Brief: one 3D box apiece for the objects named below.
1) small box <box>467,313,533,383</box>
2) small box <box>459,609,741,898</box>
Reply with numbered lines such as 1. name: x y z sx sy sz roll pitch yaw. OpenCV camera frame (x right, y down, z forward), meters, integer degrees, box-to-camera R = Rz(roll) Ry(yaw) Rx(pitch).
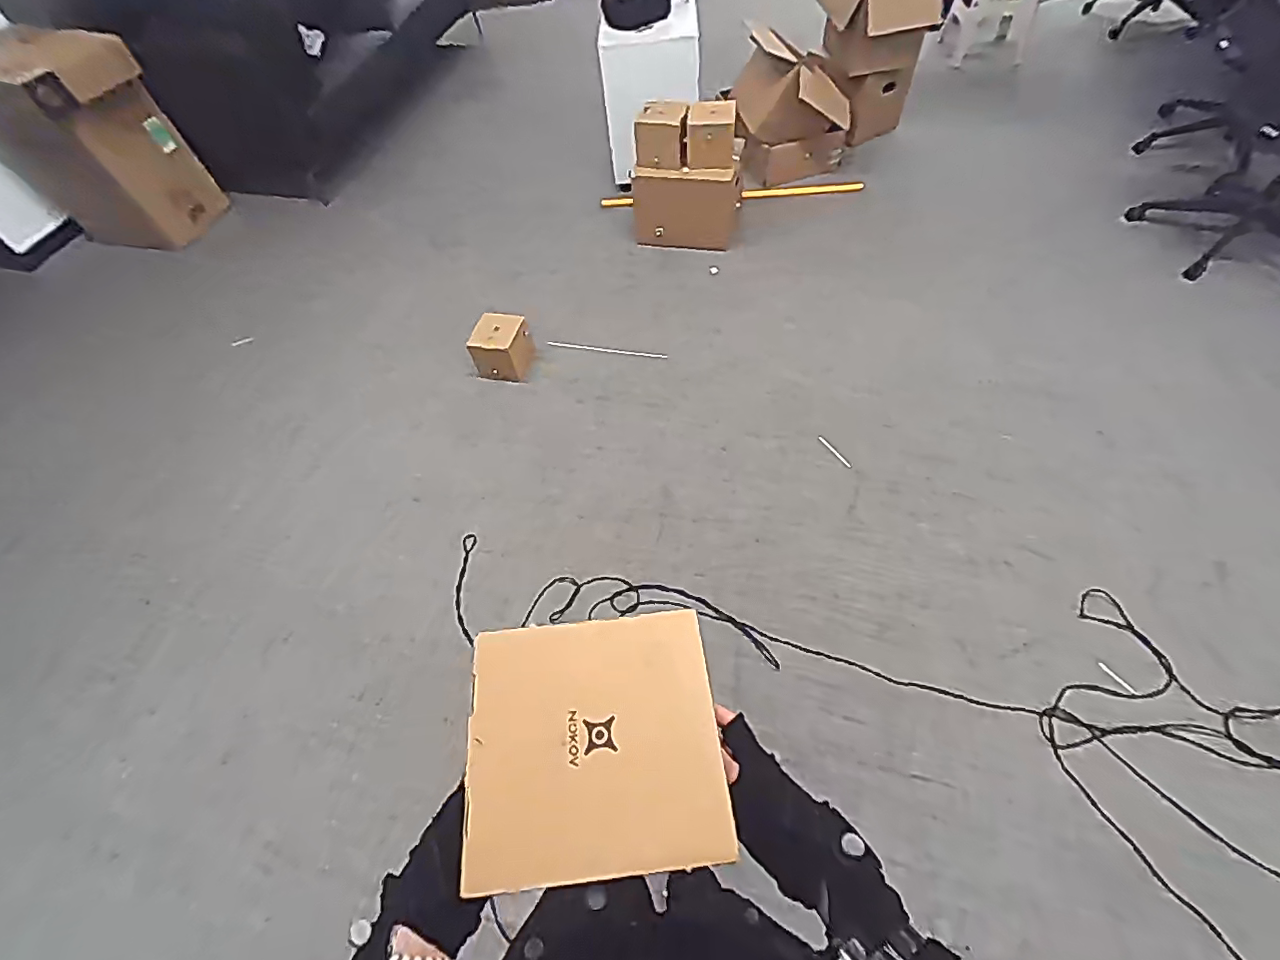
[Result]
1. small box: -0.507 -0.486 1.991 0.168 0.176 0.179 9 59 12
2. small box: -0.030 0.219 0.438 0.179 0.176 0.168 -7 56 -2
